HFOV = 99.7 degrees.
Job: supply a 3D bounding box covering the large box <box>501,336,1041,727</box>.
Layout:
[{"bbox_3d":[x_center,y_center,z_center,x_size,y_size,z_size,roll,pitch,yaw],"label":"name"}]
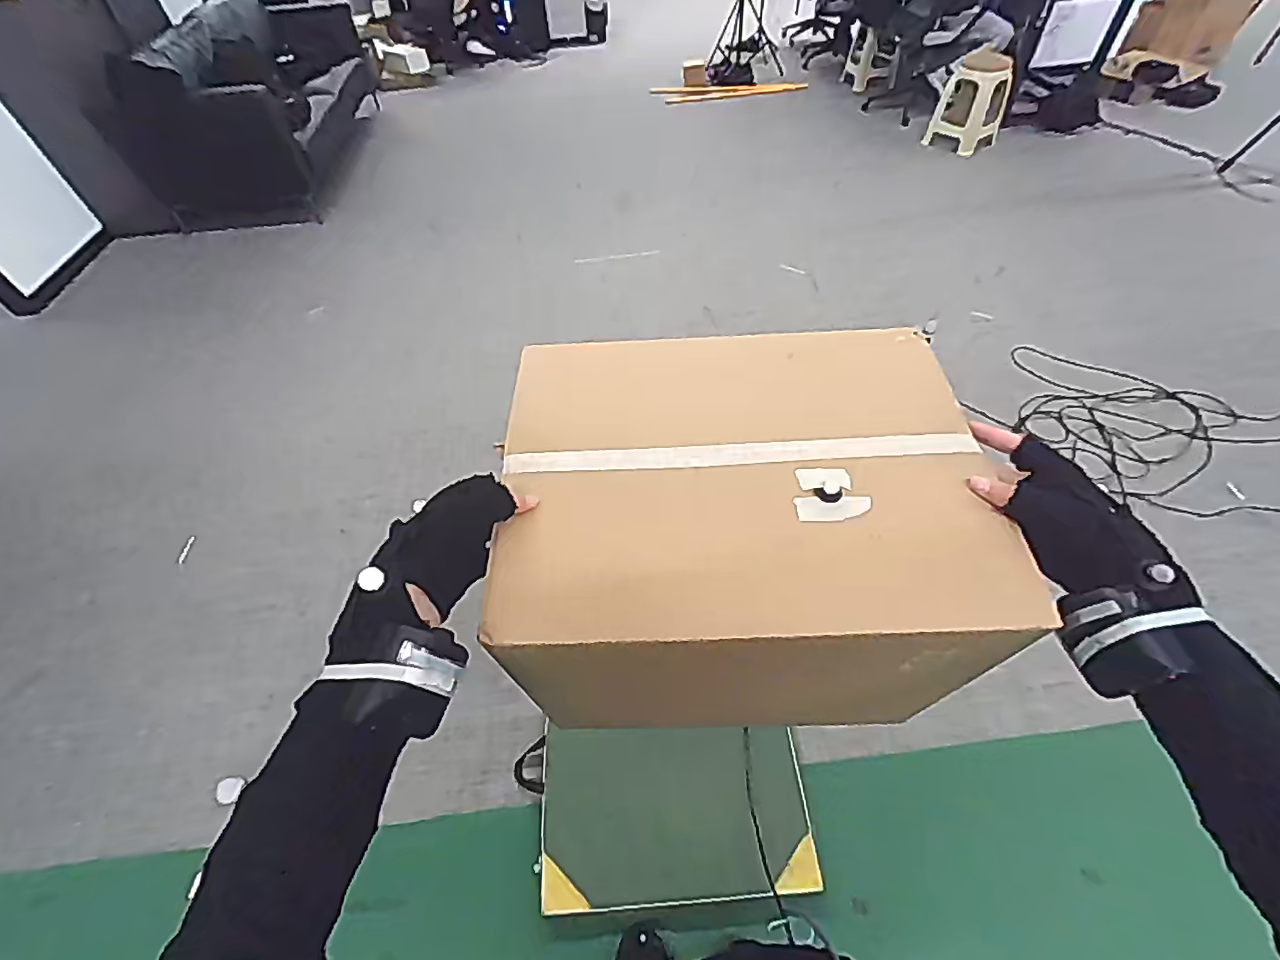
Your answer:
[{"bbox_3d":[0.093,0.069,0.597,0.408,0.320,0.320,-2,55,1],"label":"large box"}]
